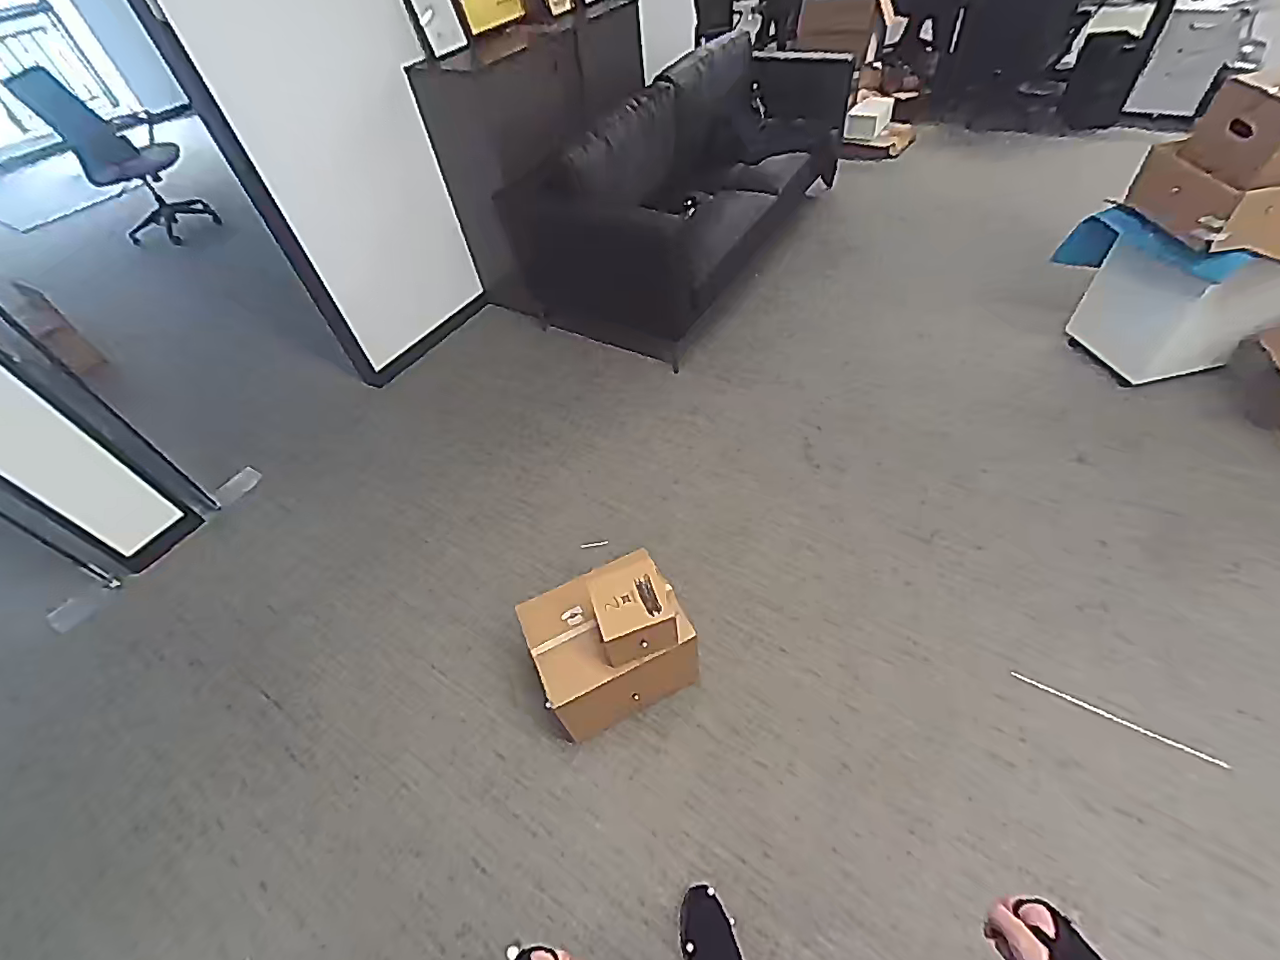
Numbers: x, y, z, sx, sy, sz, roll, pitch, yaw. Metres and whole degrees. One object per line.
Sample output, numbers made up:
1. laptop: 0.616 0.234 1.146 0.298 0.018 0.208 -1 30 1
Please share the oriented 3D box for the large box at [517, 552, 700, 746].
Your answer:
1. large box: -0.079 0.479 1.534 0.408 0.320 0.320 -24 50 -12
